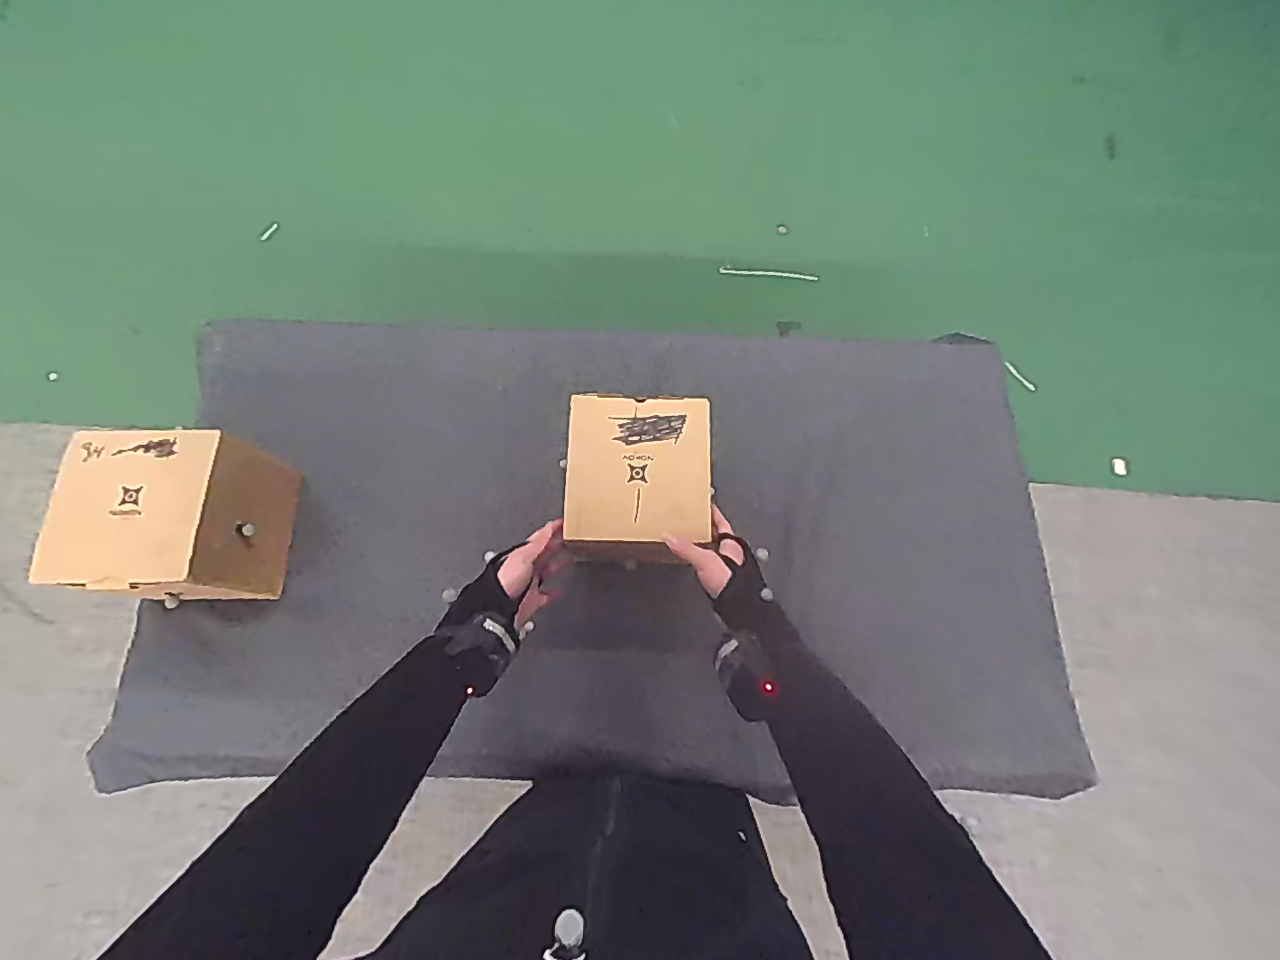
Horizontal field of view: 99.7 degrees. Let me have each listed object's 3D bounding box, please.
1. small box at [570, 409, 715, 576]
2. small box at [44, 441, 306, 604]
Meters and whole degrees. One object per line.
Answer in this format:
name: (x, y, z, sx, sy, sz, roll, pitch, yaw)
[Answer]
small box: (0.002, 0.024, 0.701, 0.168, 0.176, 0.179, 2, 74, -1)
small box: (-0.548, 0.062, 0.669, 0.168, 0.176, 0.179, 0, 73, -2)
